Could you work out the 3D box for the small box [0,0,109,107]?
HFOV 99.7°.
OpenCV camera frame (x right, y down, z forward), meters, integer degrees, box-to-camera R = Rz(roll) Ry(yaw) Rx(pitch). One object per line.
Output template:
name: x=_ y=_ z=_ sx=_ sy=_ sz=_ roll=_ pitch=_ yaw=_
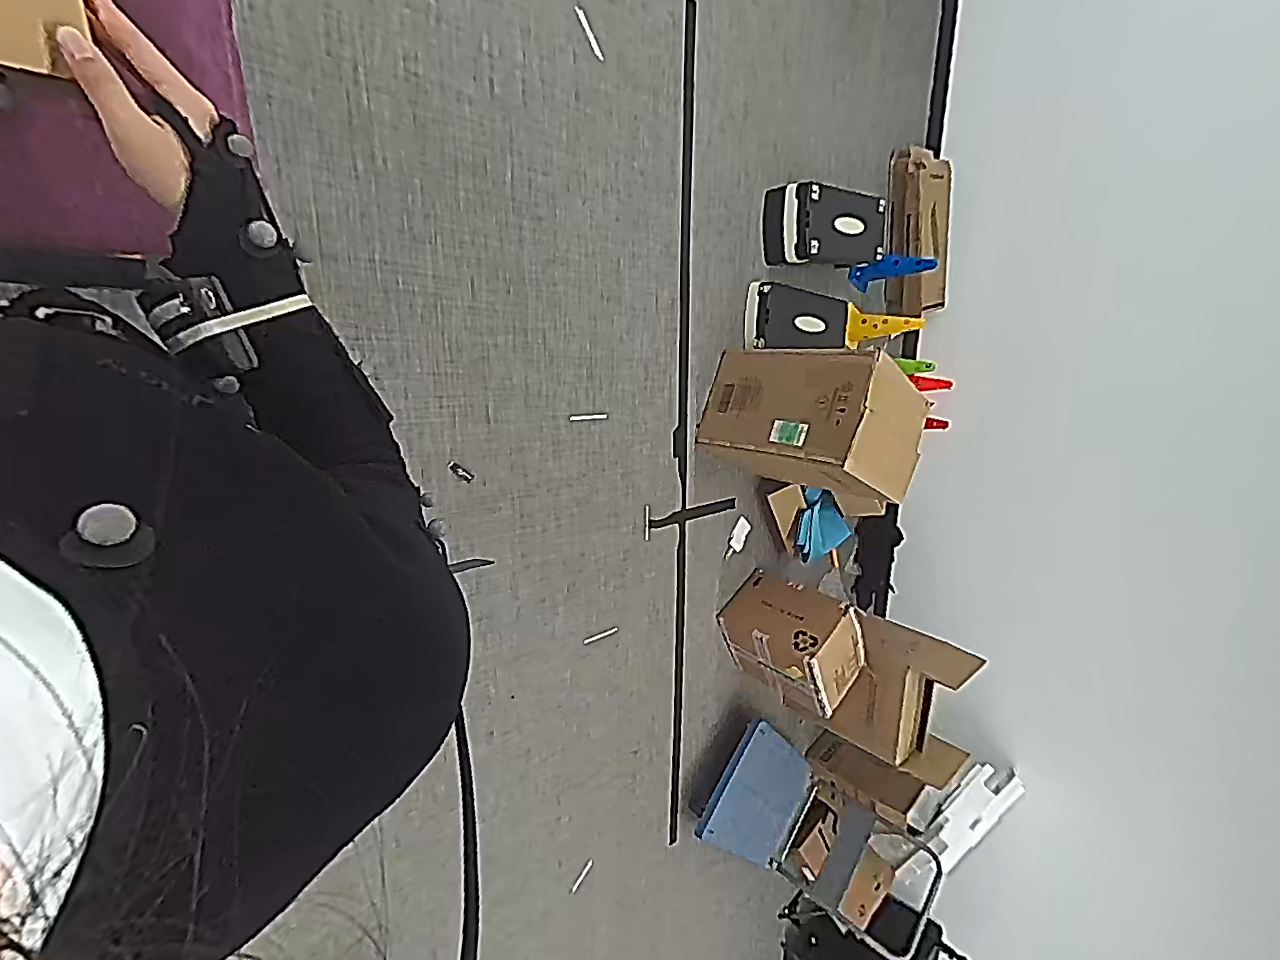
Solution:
small box: x=-0.421 y=-0.318 z=0.286 sx=0.179 sy=0.176 sz=0.168 roll=-12 pitch=119 yaw=-41
